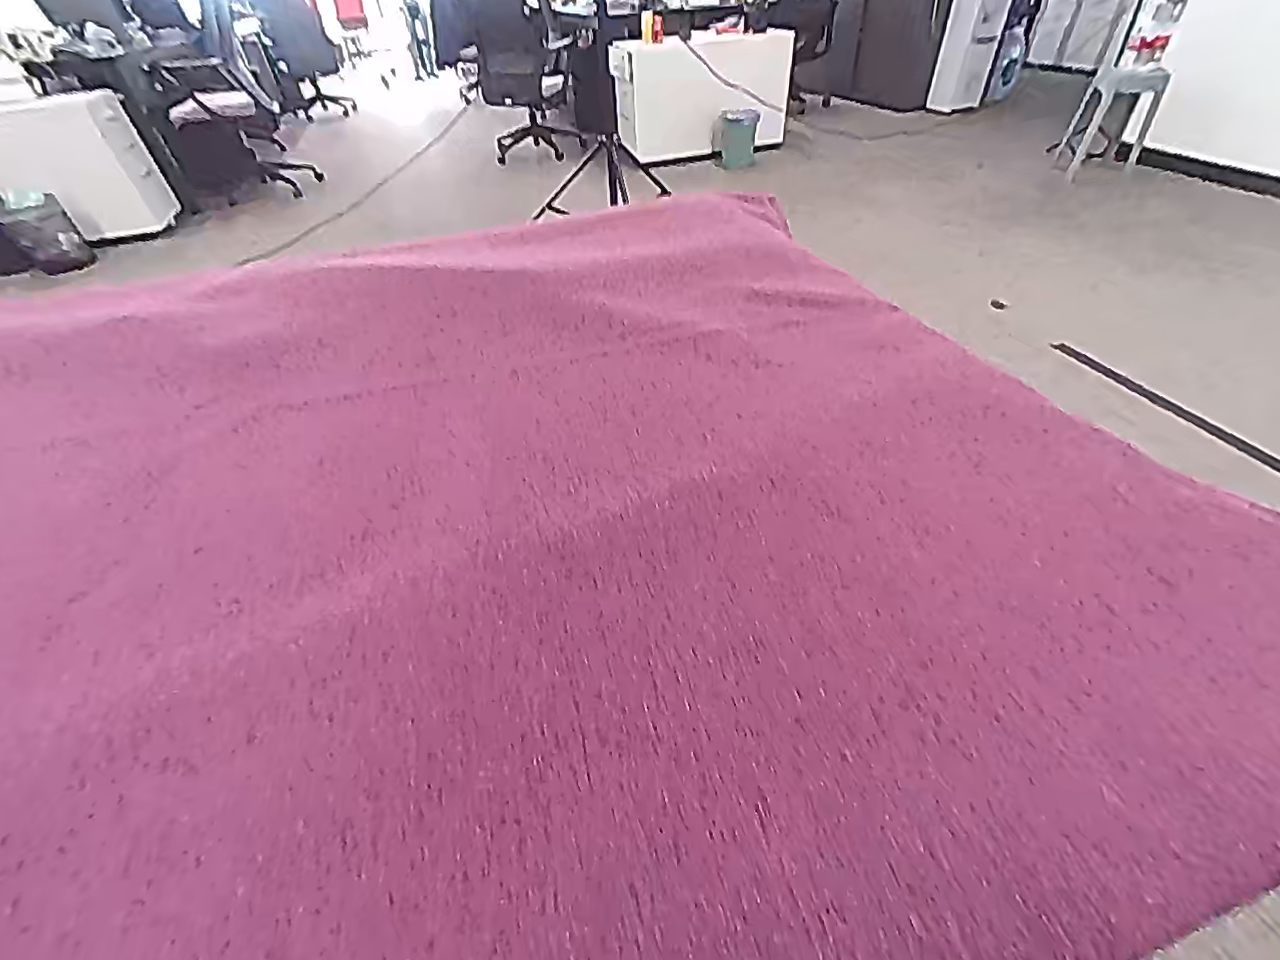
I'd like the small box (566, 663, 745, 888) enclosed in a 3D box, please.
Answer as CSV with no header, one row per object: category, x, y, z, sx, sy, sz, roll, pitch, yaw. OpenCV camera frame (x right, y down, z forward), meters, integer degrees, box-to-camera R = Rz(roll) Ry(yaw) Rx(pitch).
small box,0.014,0.362,0.665,0.168,0.176,0.179,-15,46,-9
